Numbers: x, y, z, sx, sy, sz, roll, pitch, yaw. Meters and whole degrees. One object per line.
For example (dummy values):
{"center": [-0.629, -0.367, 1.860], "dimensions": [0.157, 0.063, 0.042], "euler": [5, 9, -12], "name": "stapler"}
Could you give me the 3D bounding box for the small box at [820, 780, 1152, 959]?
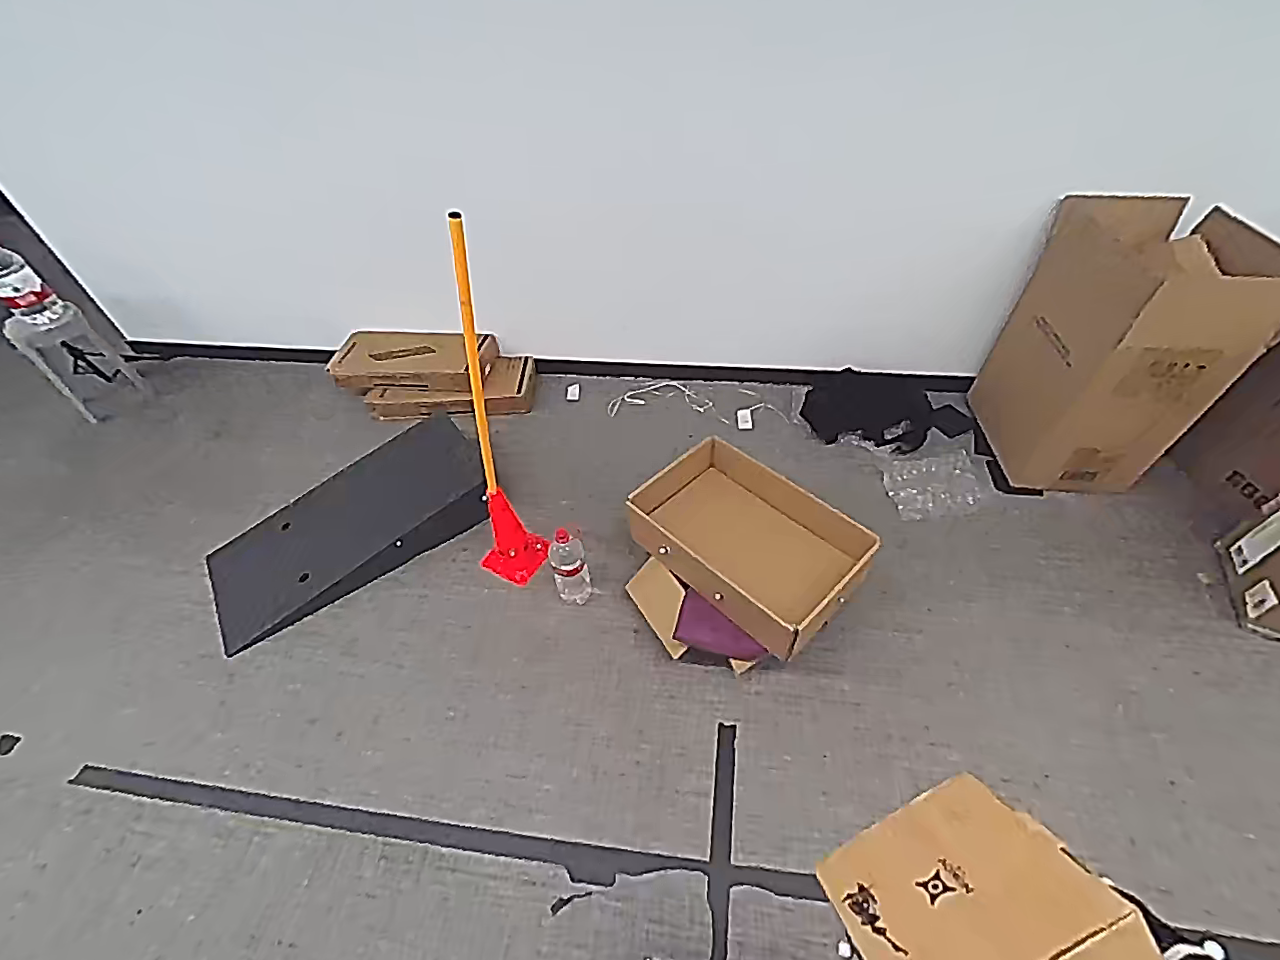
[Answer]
{"center": [0.288, 0.402, 0.445], "dimensions": [0.179, 0.168, 0.176], "euler": [-27, 92, -4], "name": "small box"}
